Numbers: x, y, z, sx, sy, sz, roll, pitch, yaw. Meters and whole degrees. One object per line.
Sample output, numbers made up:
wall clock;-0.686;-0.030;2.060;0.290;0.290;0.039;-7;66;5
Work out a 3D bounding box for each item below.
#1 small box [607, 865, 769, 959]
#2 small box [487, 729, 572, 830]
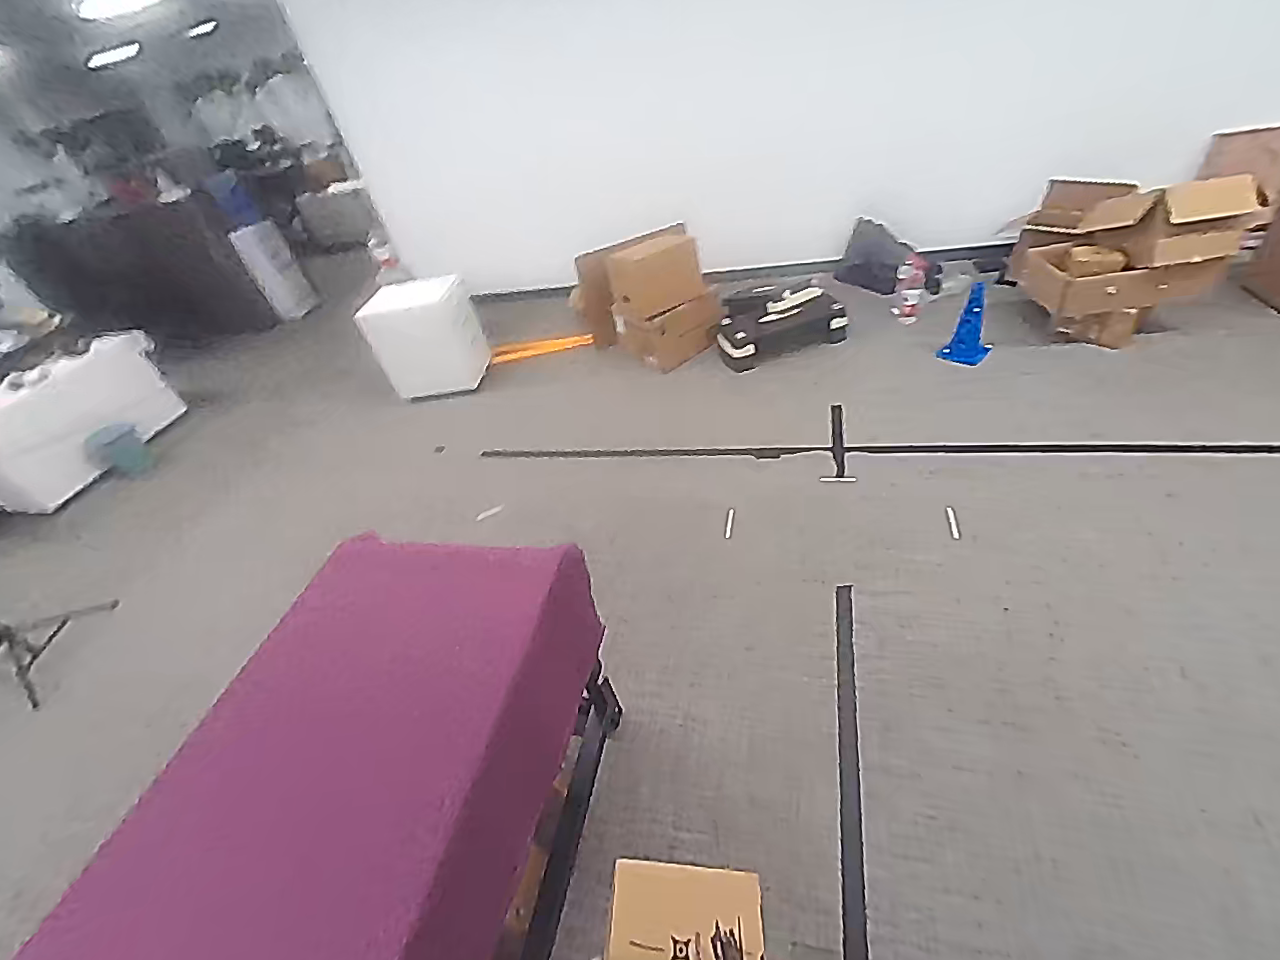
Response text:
small box;0.049;0.587;0.634;0.179;0.176;0.168;6;35;1
small box;-0.303;0.824;1.484;0.179;0.176;0.168;-19;41;-5
